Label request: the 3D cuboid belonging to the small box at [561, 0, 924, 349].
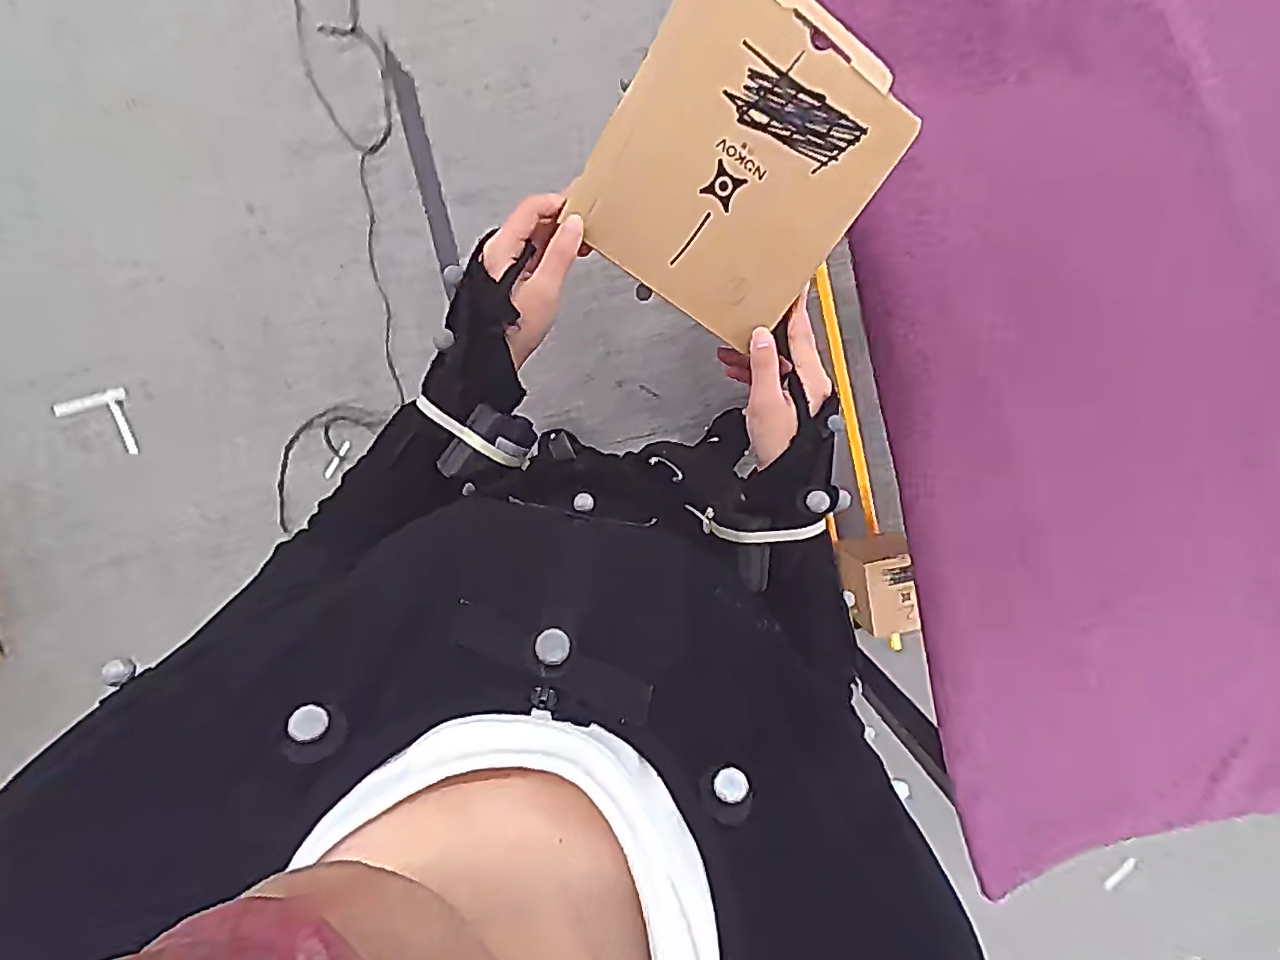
[{"bbox_3d":[0.061,-0.230,0.412,0.168,0.176,0.179,32,110,-11],"label":"small box"}]
